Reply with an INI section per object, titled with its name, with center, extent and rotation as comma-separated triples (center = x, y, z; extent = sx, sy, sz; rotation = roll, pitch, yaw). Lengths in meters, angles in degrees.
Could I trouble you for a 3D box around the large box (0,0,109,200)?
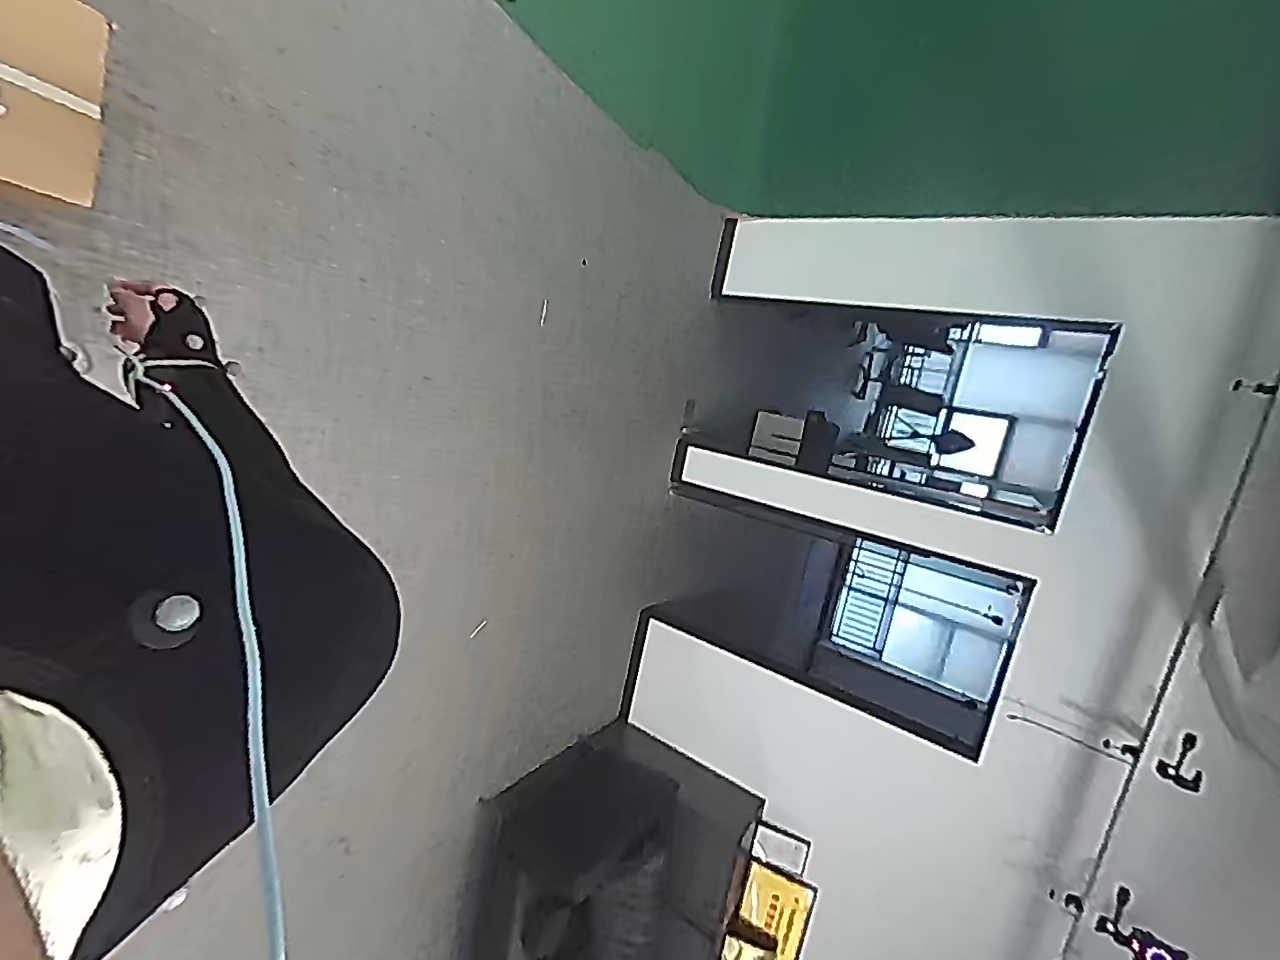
[large box]
center = -1.136, -0.669, 0.816
extent = 0.408, 0.320, 0.320
rotation = 2, 103, -59
